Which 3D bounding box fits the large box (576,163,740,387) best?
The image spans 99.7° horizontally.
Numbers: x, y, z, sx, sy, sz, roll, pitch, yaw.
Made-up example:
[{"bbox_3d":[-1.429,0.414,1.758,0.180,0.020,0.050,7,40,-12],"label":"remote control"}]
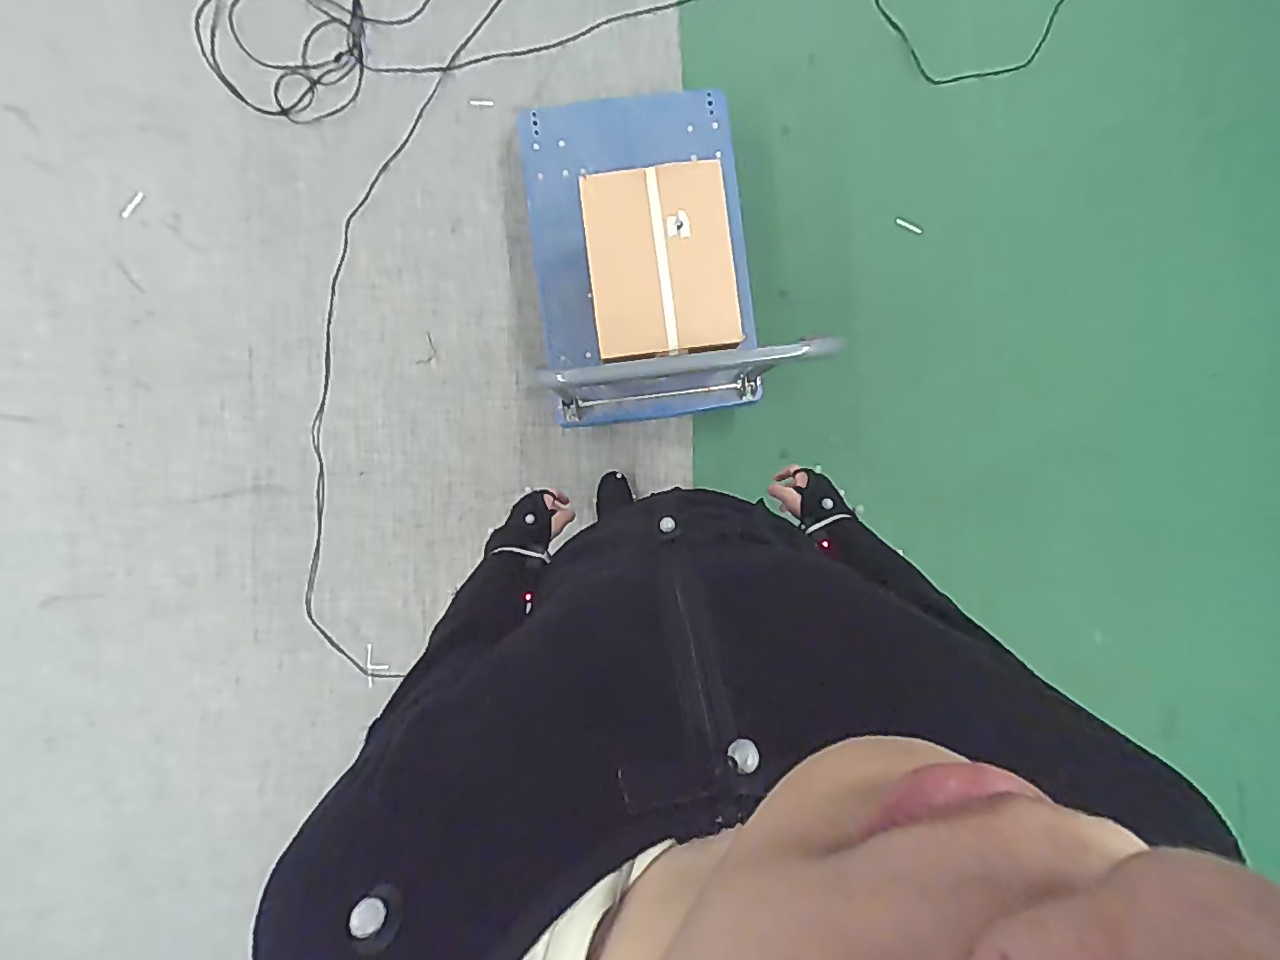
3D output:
[{"bbox_3d":[0.038,-0.471,1.318,0.320,0.320,0.408,-7,89,-2],"label":"large box"}]
